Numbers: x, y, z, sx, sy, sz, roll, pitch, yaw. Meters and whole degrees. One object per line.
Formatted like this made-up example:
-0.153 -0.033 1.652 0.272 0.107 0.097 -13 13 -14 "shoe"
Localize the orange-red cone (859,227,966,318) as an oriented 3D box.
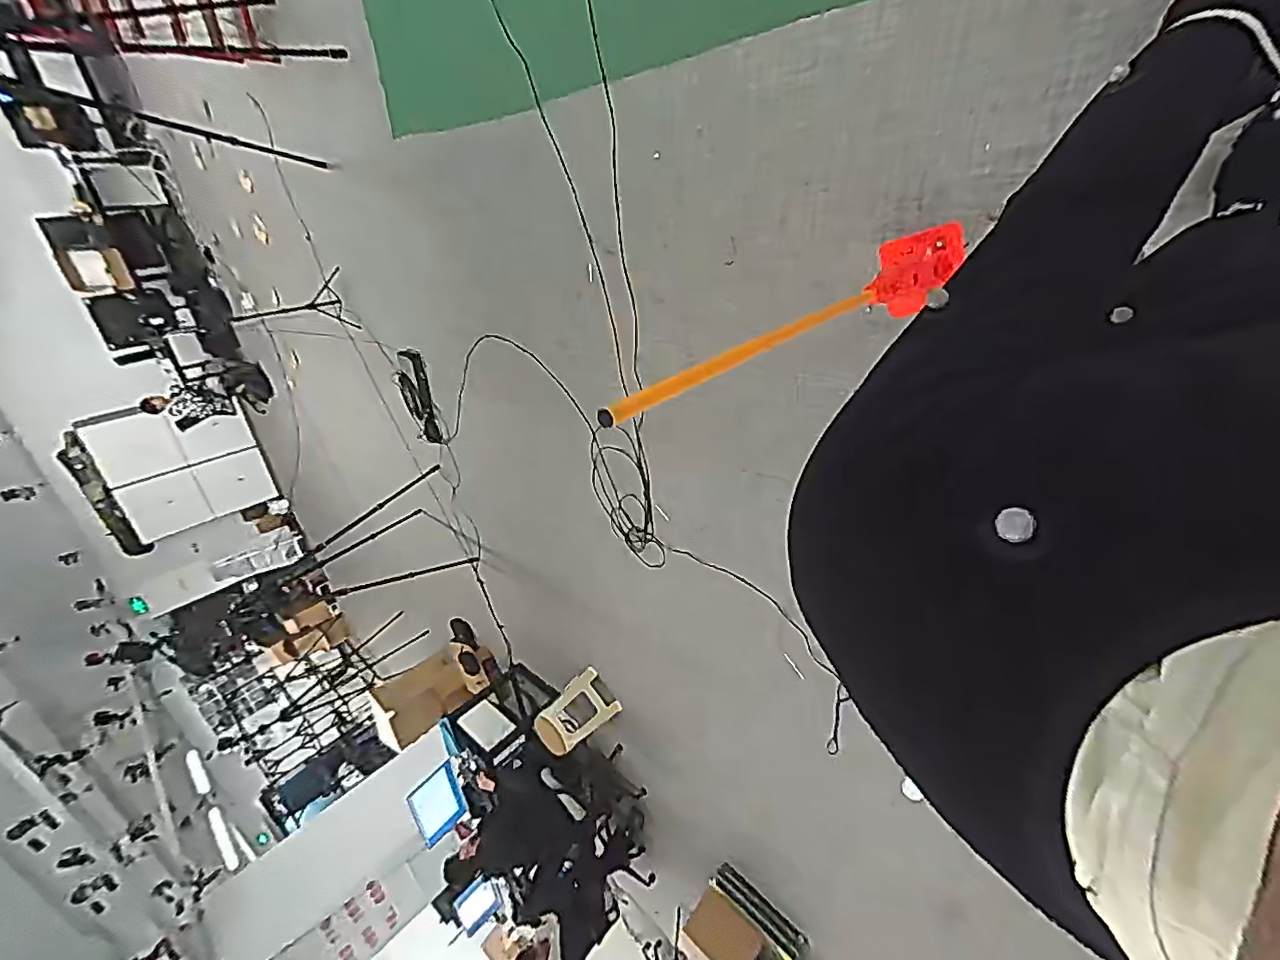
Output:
0.619 -0.469 1.301 0.199 0.360 0.198 2 114 47 "orange-red cone"
